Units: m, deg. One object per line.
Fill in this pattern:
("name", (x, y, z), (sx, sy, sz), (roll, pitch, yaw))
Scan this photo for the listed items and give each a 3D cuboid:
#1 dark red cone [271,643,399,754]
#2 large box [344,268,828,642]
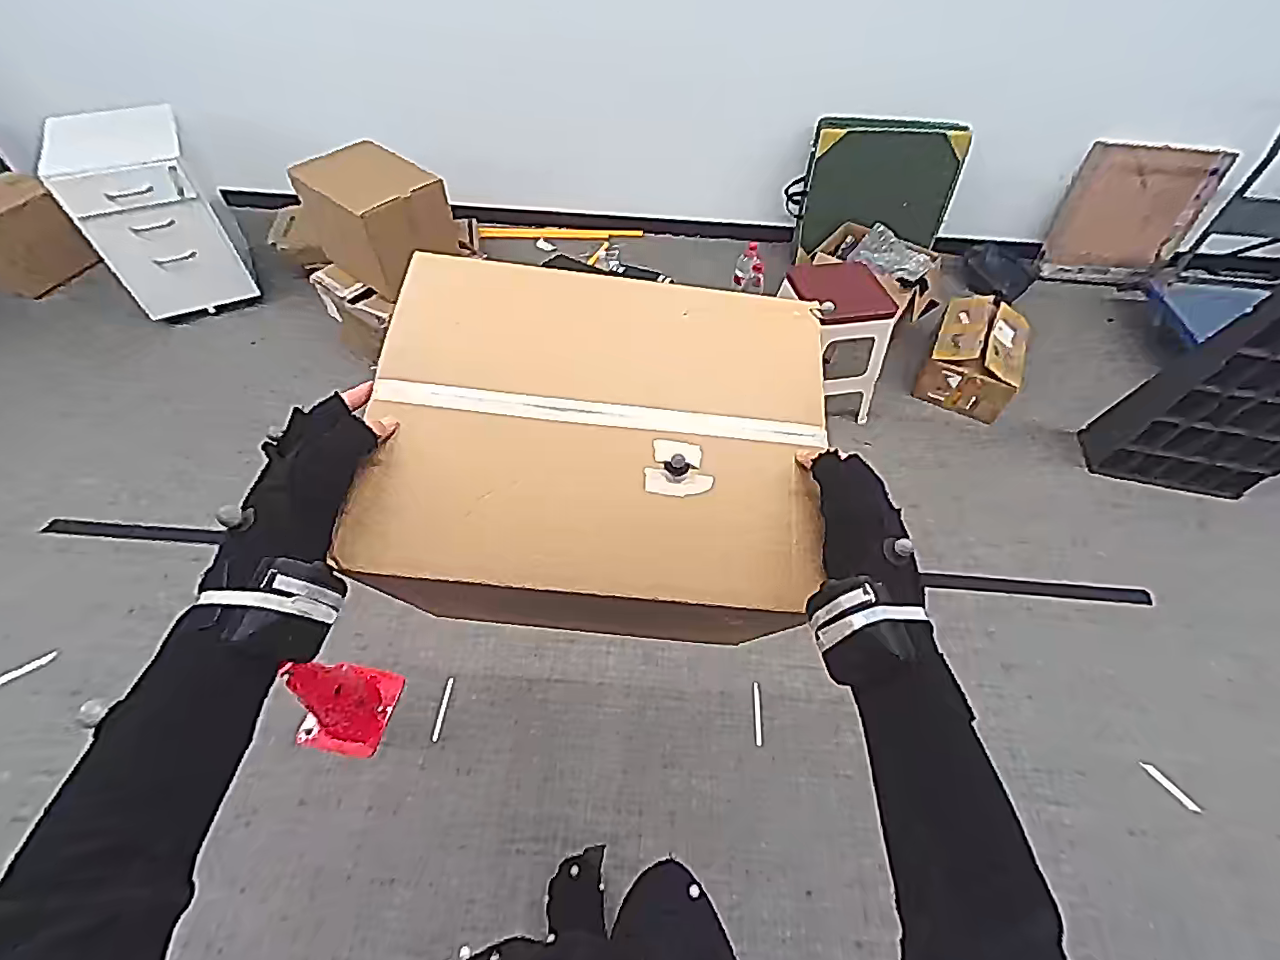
("dark red cone", (-0.711, 0.455, 1.201), (0.201, 0.394, 0.202), (10, 53, 3))
("large box", (-0.044, 0.003, 0.630), (0.408, 0.320, 0.320), (7, 69, -4))
